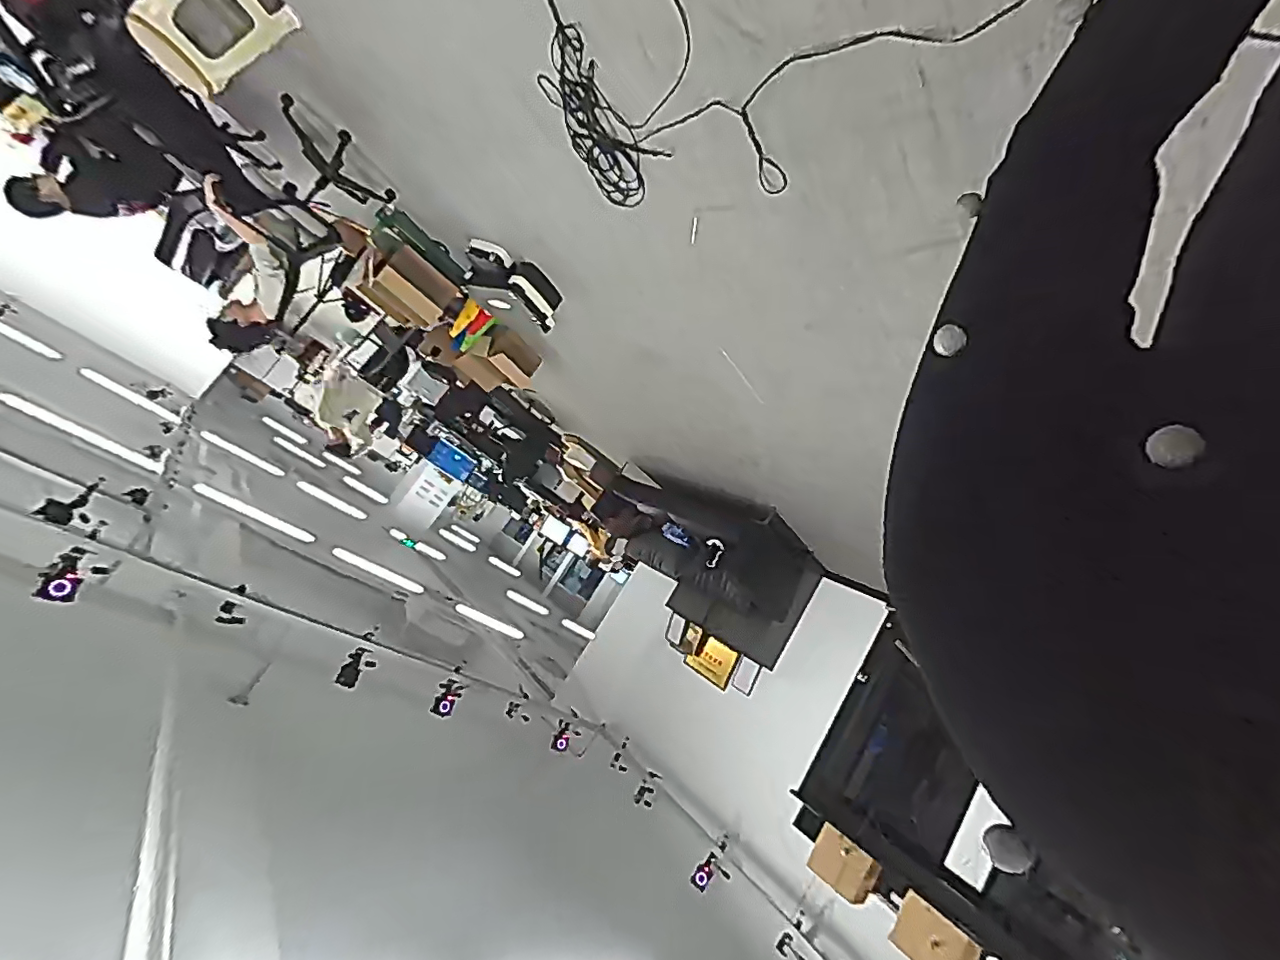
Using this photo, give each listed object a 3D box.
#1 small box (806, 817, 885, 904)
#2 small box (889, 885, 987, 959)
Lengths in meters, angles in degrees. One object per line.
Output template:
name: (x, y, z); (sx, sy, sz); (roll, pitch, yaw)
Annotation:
small box: (0.682, 1.246, 1.779); (0.168, 0.176, 0.179); (21, 164, 45)
small box: (0.855, 1.304, 1.549); (0.179, 0.176, 0.168); (39, 168, -33)
